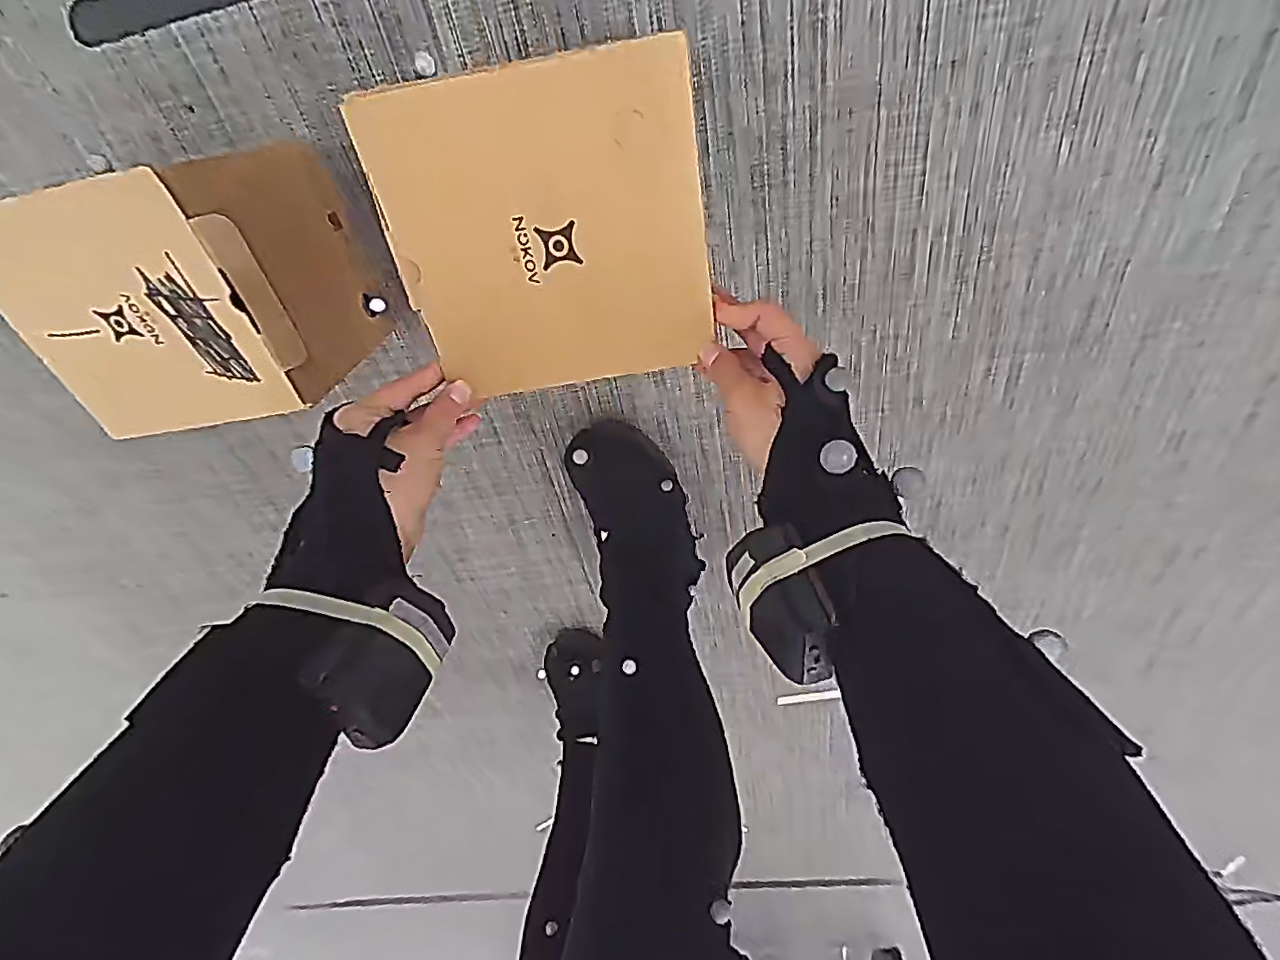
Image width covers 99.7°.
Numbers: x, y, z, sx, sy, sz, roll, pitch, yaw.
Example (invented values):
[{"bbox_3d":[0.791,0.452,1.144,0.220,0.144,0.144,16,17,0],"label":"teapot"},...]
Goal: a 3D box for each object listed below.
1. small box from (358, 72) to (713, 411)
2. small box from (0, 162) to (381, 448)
[{"bbox_3d":[-0.051,-0.169,0.382,0.179,0.176,0.168,-8,122,5],"label":"small box"},{"bbox_3d":[-0.344,-0.148,0.446,0.179,0.176,0.168,-7,125,7],"label":"small box"}]
